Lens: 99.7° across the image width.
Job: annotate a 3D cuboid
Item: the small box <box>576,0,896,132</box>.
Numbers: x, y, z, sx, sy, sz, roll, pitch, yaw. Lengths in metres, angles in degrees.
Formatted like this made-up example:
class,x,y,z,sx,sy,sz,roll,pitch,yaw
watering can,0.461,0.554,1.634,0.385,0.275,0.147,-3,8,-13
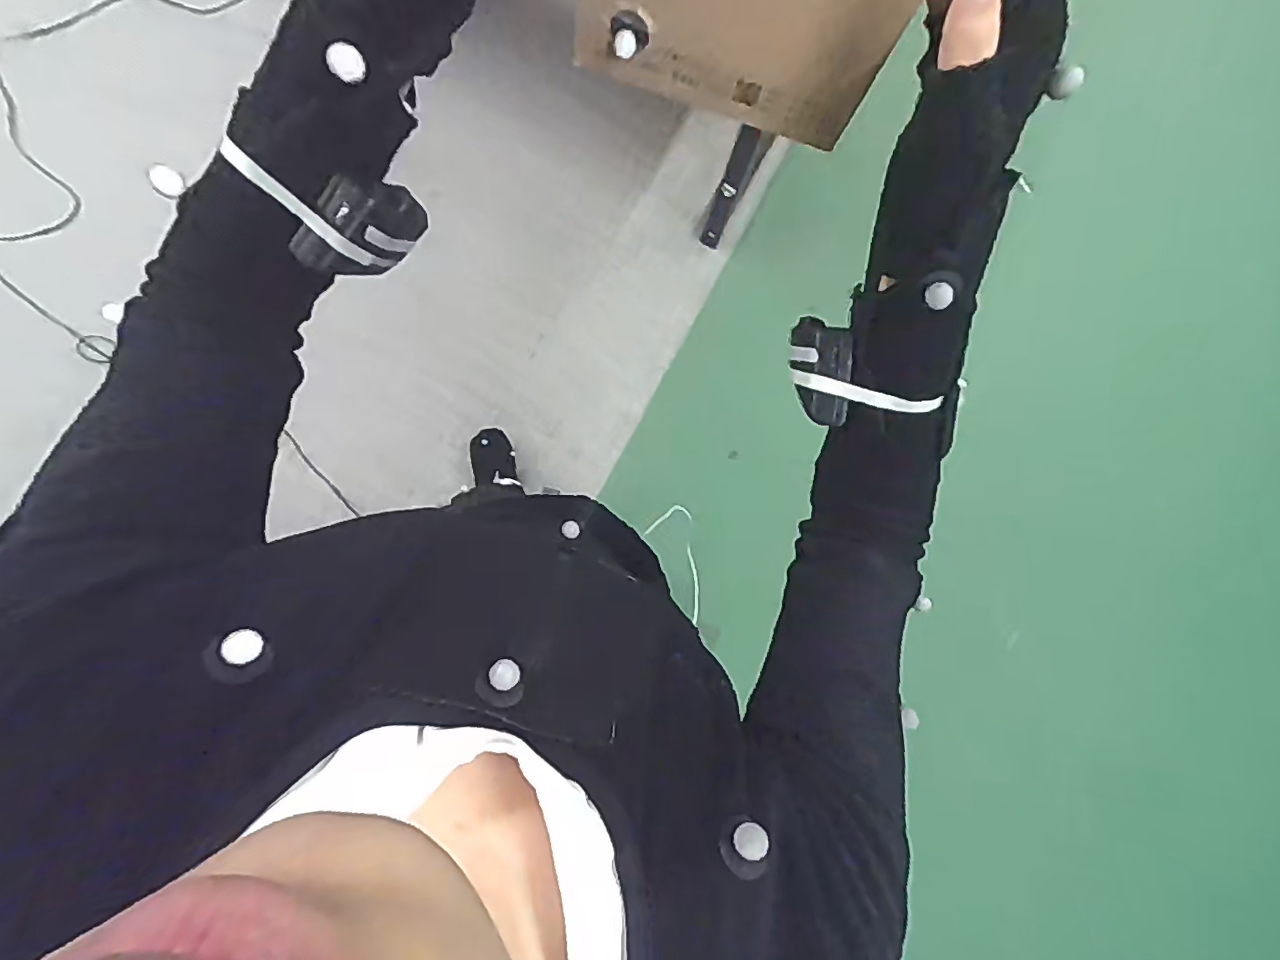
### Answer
class,x,y,z,sx,sy,sz,roll,pitch,yaw
small box,0.066,-0.322,0.267,0.168,0.176,0.179,16,77,-4
